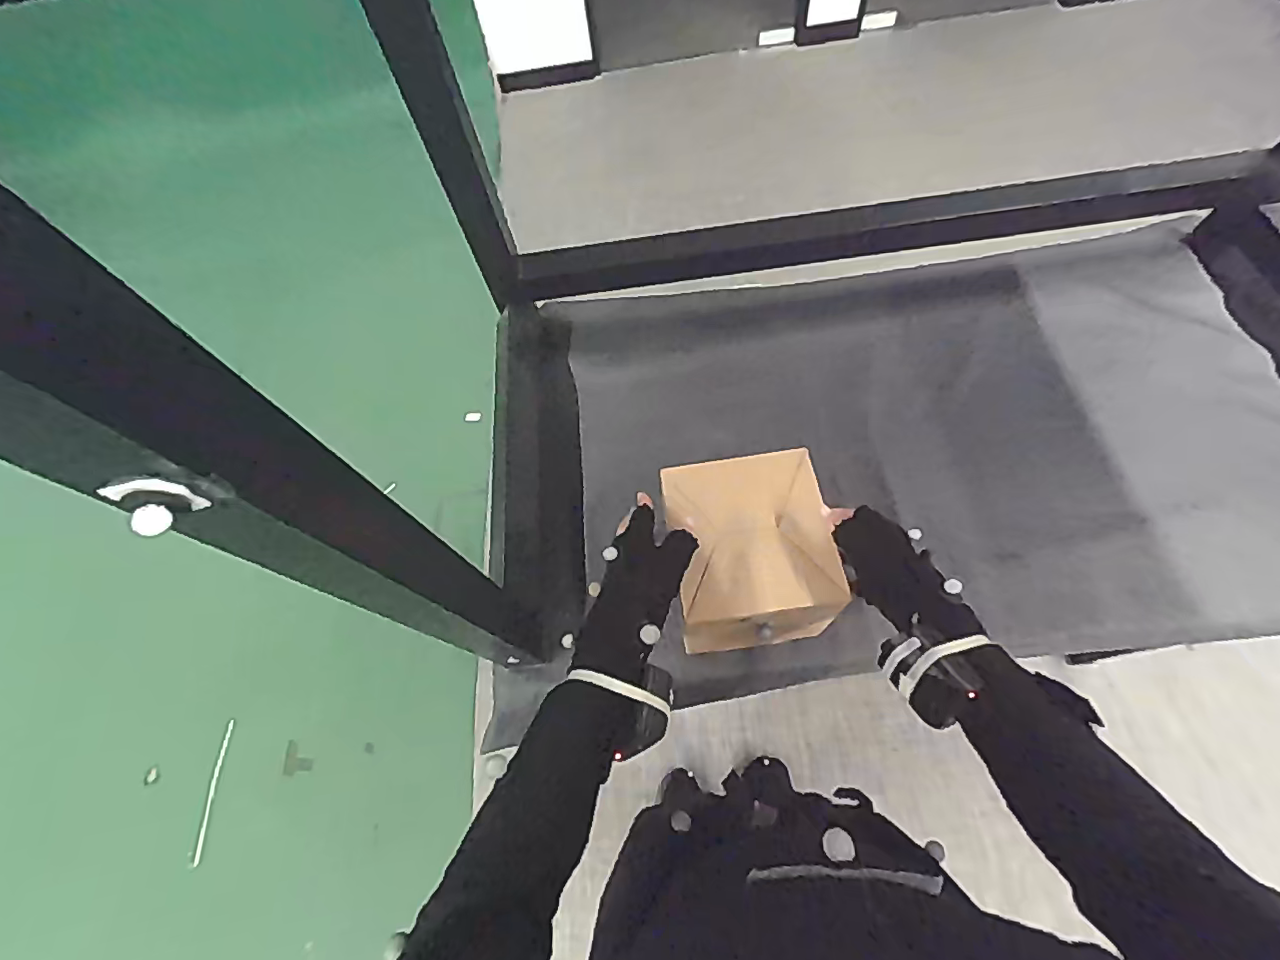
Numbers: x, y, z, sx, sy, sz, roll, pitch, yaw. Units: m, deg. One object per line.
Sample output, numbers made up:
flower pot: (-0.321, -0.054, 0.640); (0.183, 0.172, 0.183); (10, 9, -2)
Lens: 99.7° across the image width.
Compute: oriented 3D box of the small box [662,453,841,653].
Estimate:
small box: (0.119, 0.088, 0.635); (0.168, 0.176, 0.179); (-9, 61, 2)
